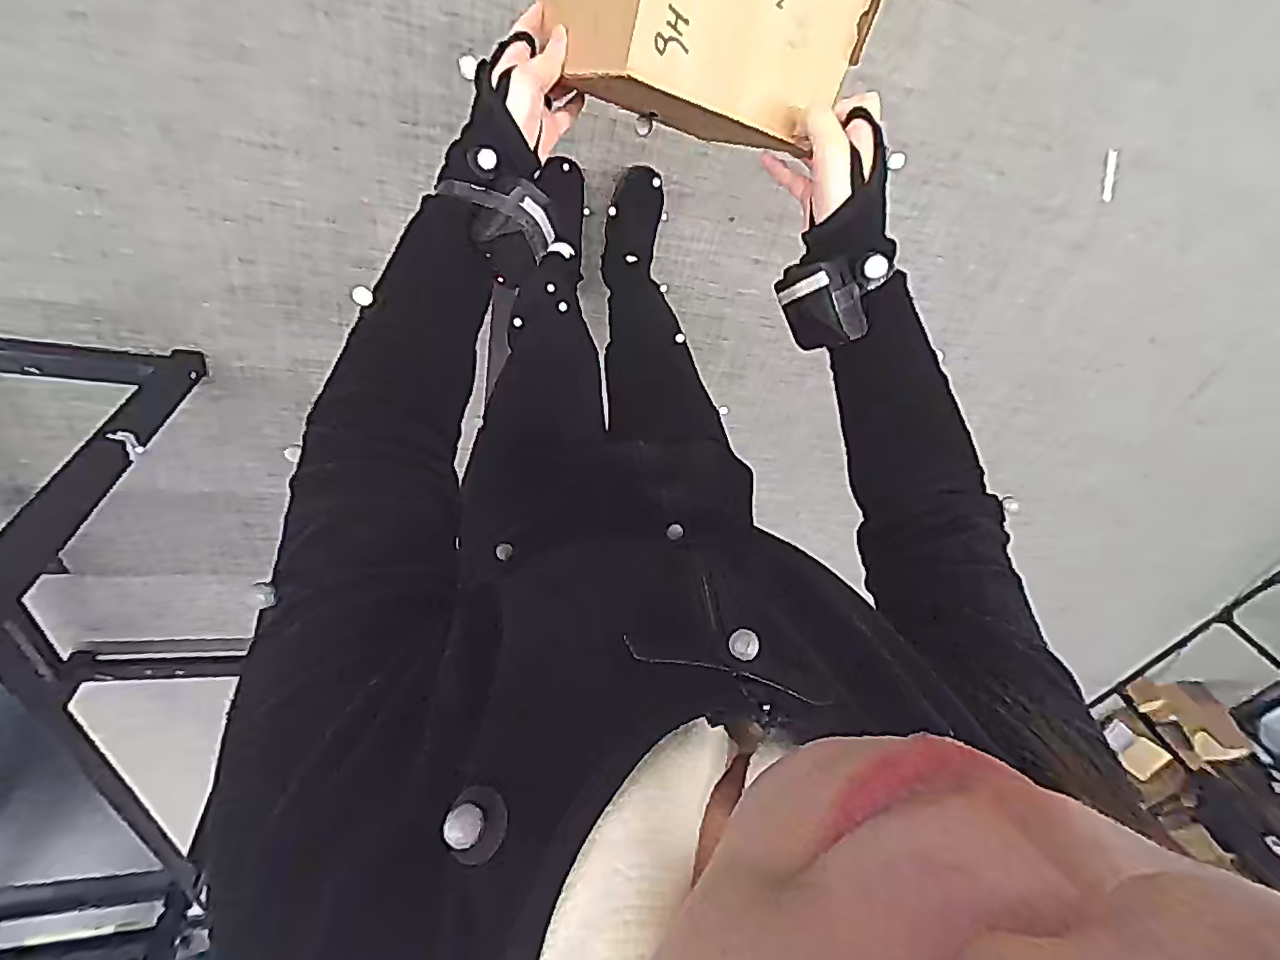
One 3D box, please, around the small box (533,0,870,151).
[{"bbox_3d":[0.044,-0.358,0.384,0.179,0.176,0.168,-2,122,-33],"label":"small box"}]
